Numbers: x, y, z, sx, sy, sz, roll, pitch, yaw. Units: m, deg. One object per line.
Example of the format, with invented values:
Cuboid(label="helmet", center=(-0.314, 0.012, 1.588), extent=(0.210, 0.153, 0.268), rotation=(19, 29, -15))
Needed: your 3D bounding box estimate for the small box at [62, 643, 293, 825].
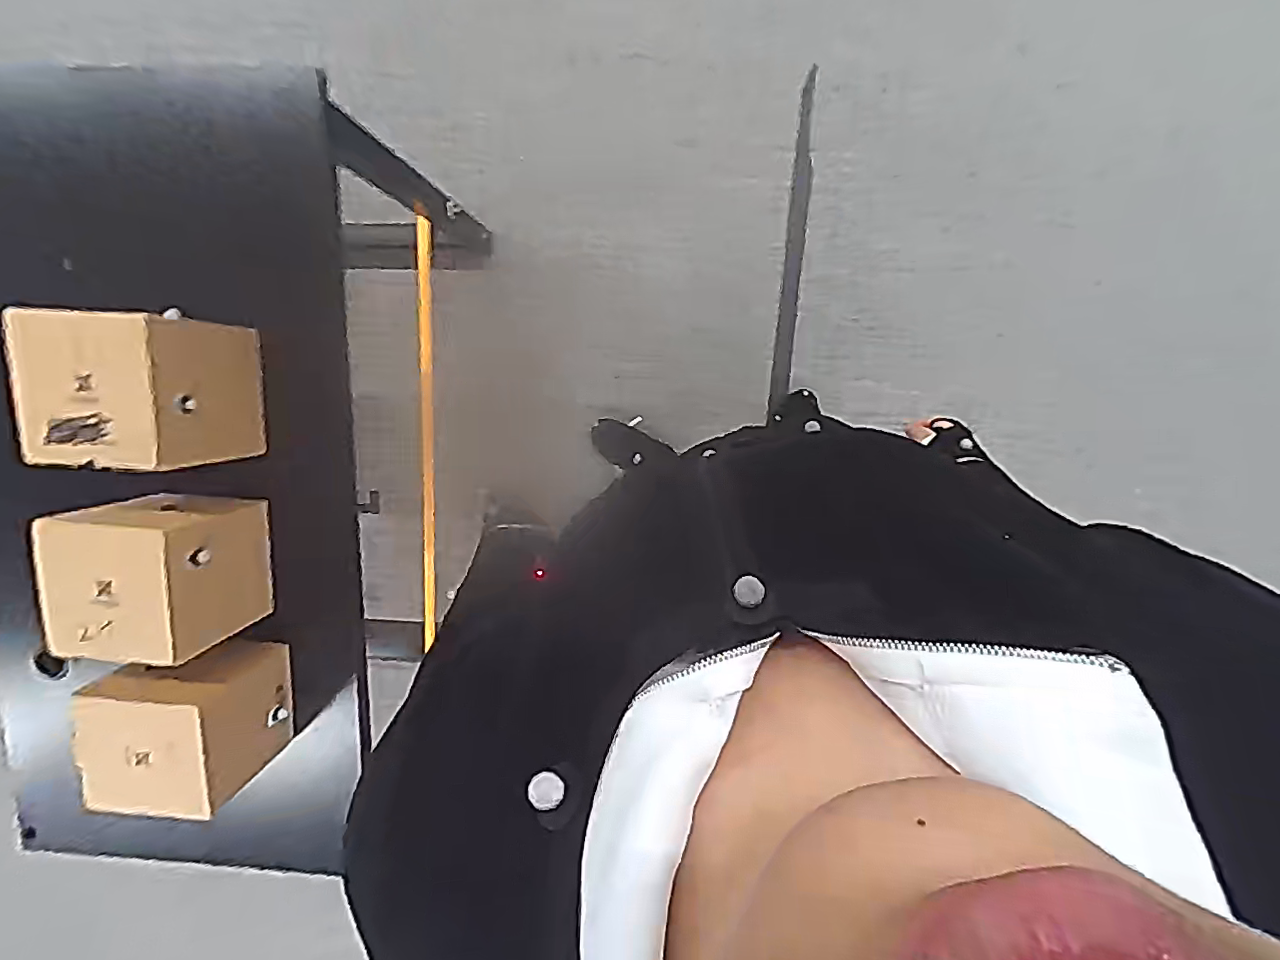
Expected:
Cuboid(label="small box", center=(-0.633, 0.345, 0.763), extent=(0.179, 0.176, 0.168), rotation=(2, 101, 2))

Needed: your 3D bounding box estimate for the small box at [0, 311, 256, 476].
Cuboid(label="small box", center=(-0.622, -0.109, 0.681), extent=(0.168, 0.176, 0.179), rotation=(3, 99, 3))
